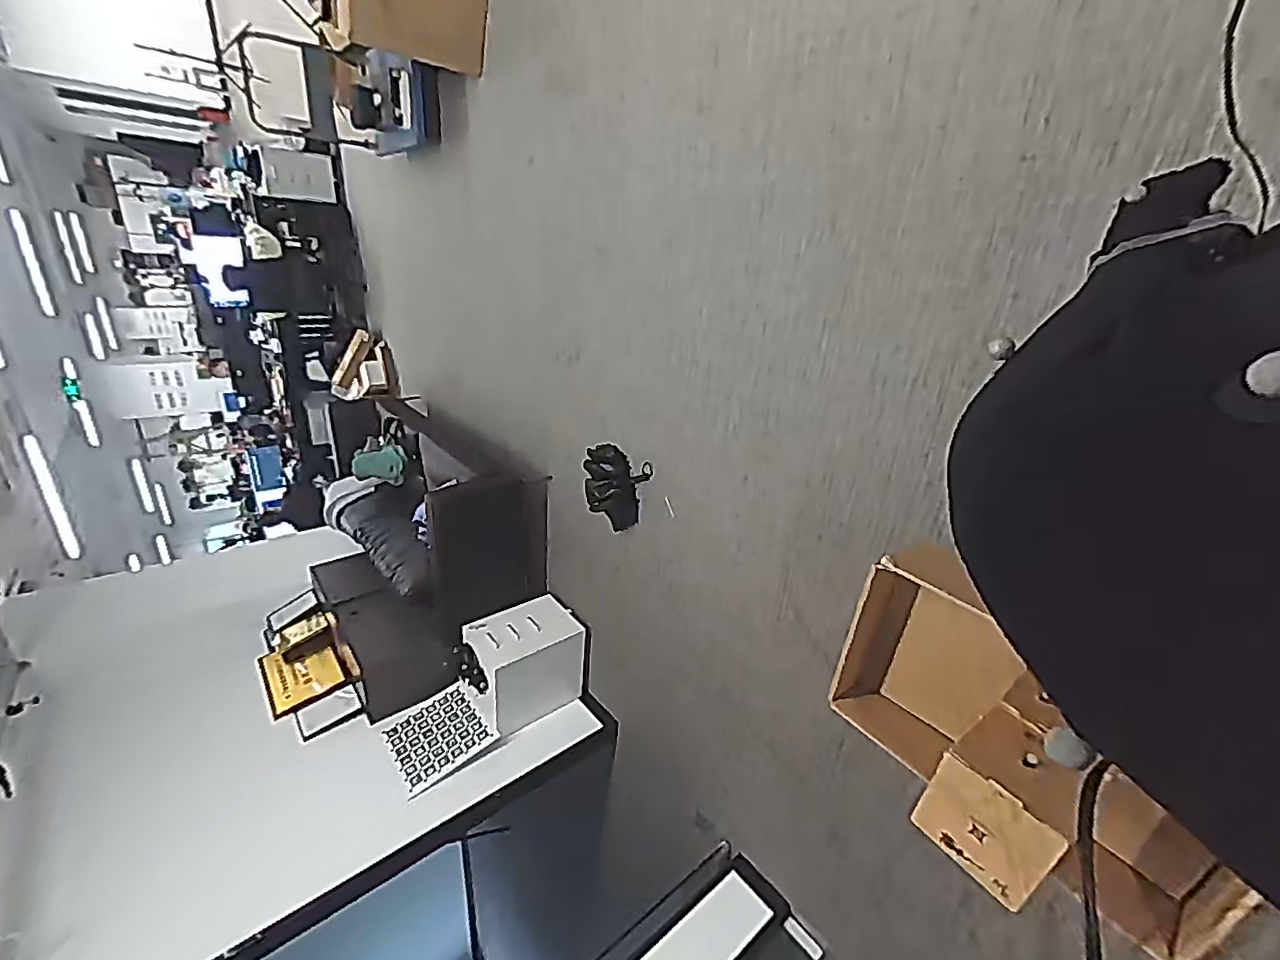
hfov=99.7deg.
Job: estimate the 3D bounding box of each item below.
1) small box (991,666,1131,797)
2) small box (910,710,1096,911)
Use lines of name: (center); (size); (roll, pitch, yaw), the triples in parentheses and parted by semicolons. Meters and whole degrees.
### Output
small box: (0.699, 0.459, 0.933); (0.168, 0.176, 0.179); (36, 131, 43)
small box: (0.567, 0.499, 0.844); (0.168, 0.176, 0.179); (36, 128, 44)
